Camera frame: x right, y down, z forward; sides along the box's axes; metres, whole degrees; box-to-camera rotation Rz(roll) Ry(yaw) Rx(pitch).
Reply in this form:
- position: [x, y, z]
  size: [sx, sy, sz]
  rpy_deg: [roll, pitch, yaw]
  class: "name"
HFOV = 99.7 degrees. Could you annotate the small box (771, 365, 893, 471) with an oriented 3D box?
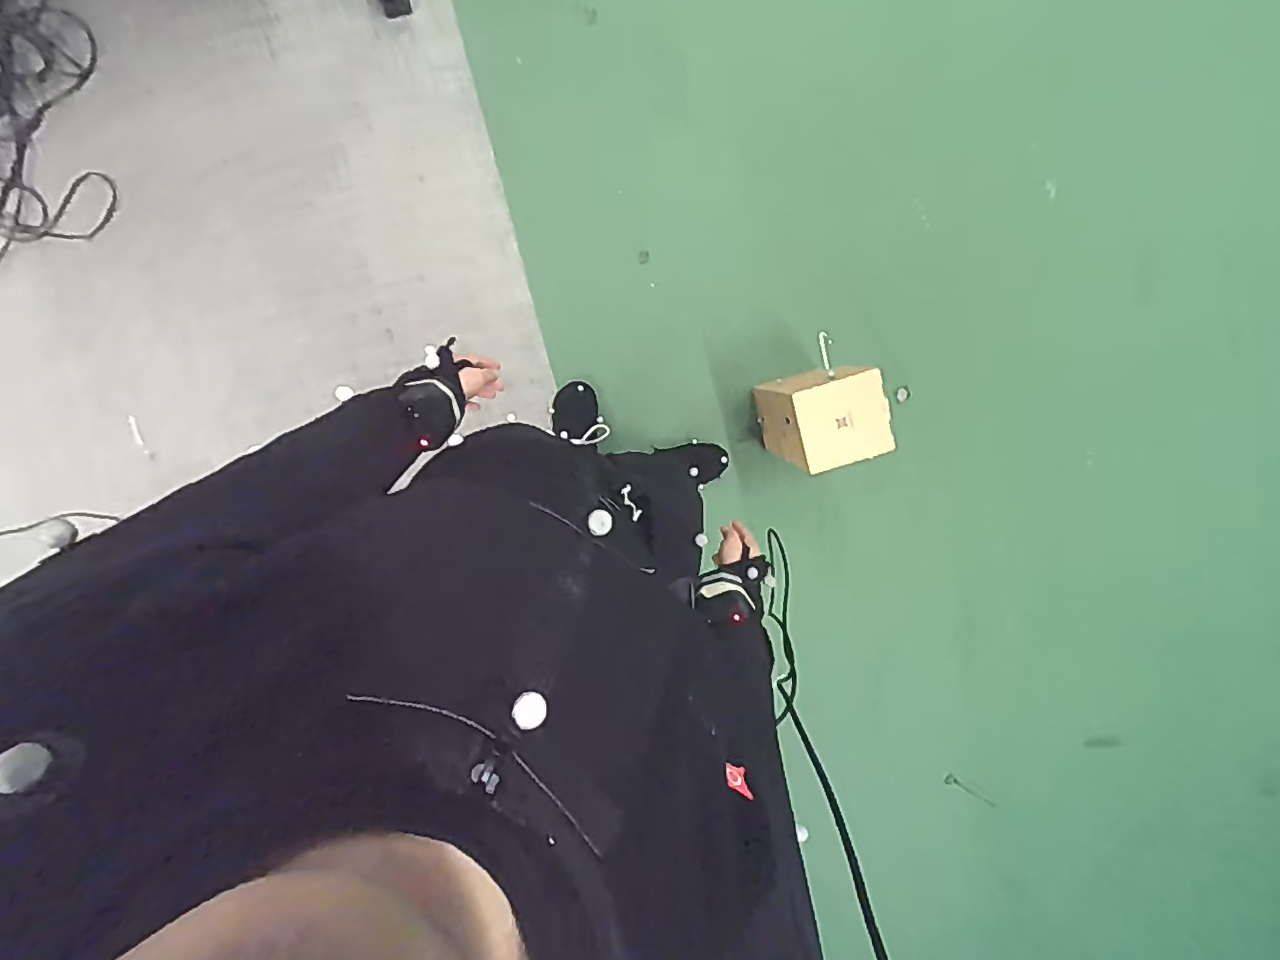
- position: [0.383, -0.132, 1.114]
  size: [0.179, 0.176, 0.168]
  rpy_deg: [-18, 102, 0]
  class: "small box"
